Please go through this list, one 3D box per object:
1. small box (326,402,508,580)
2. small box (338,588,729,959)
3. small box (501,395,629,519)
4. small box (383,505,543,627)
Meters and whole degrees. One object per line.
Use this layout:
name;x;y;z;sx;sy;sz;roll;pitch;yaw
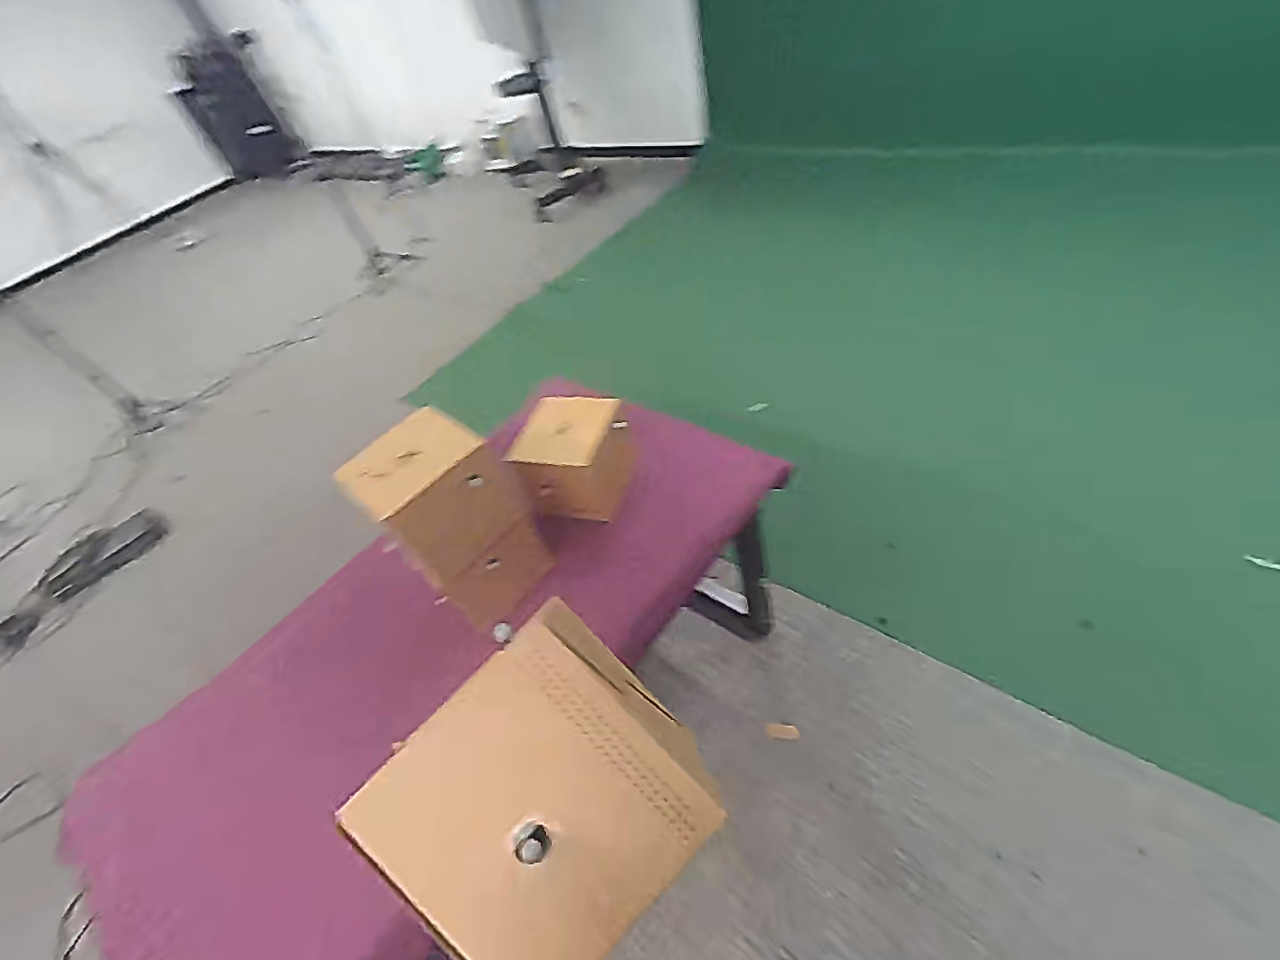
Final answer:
small box;-0.327;0.017;0.829;0.168;0.176;0.179;29;62;35
small box;-0.066;0.201;0.400;0.179;0.168;0.176;45;83;2
small box;-0.135;-0.044;1.055;0.168;0.176;0.179;6;51;22
small box;-0.301;0.125;0.951;0.168;0.176;0.179;29;62;34
